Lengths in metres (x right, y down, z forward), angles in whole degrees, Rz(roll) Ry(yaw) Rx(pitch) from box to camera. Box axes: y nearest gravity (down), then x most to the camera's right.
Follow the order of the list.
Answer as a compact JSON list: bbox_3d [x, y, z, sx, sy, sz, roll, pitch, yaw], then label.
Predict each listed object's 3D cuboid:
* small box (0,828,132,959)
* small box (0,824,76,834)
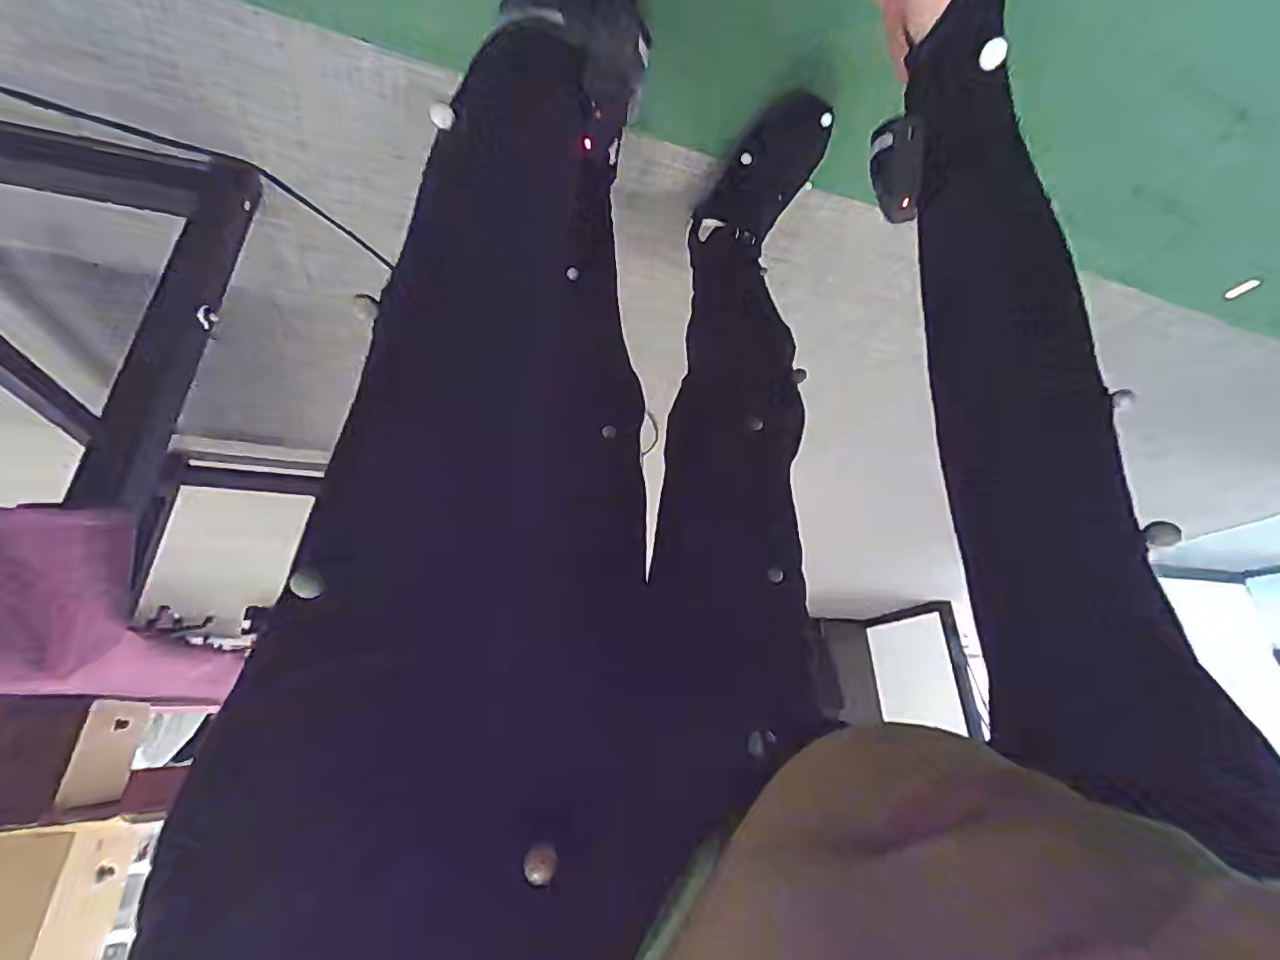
[{"bbox_3d":[-0.783,0.527,0.651,0.179,0.176,0.168,5,152,-15],"label":"small box"},{"bbox_3d":[-0.992,0.609,0.792,0.179,0.176,0.168,6,151,-13],"label":"small box"}]
